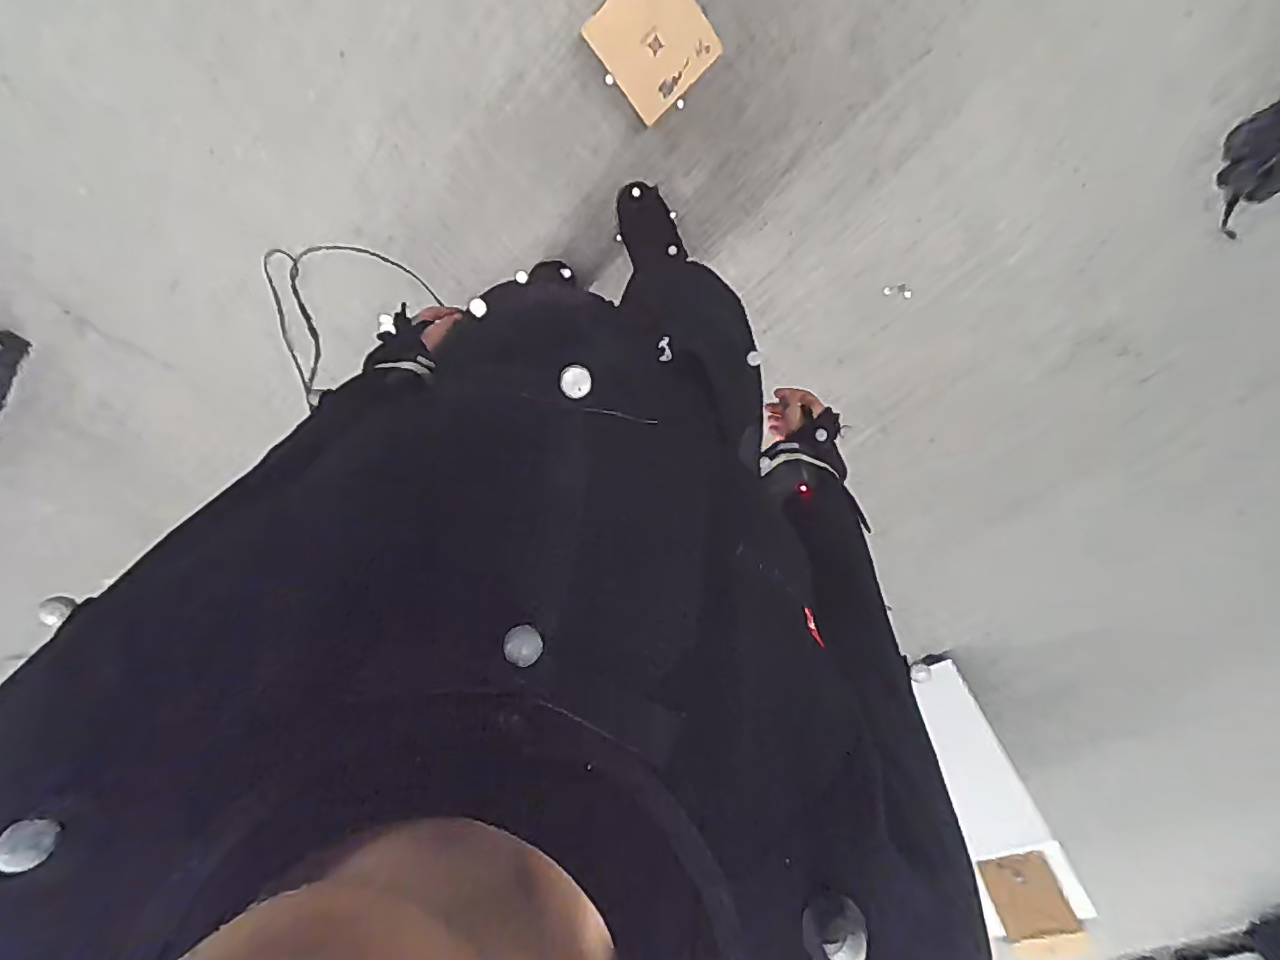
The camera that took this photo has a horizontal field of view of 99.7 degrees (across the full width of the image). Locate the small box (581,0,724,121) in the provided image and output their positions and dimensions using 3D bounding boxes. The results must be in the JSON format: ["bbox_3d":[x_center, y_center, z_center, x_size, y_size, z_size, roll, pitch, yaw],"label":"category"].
[{"bbox_3d":[0.022,-0.757,0.936,0.168,0.176,0.179,-36,114,21],"label":"small box"}]
